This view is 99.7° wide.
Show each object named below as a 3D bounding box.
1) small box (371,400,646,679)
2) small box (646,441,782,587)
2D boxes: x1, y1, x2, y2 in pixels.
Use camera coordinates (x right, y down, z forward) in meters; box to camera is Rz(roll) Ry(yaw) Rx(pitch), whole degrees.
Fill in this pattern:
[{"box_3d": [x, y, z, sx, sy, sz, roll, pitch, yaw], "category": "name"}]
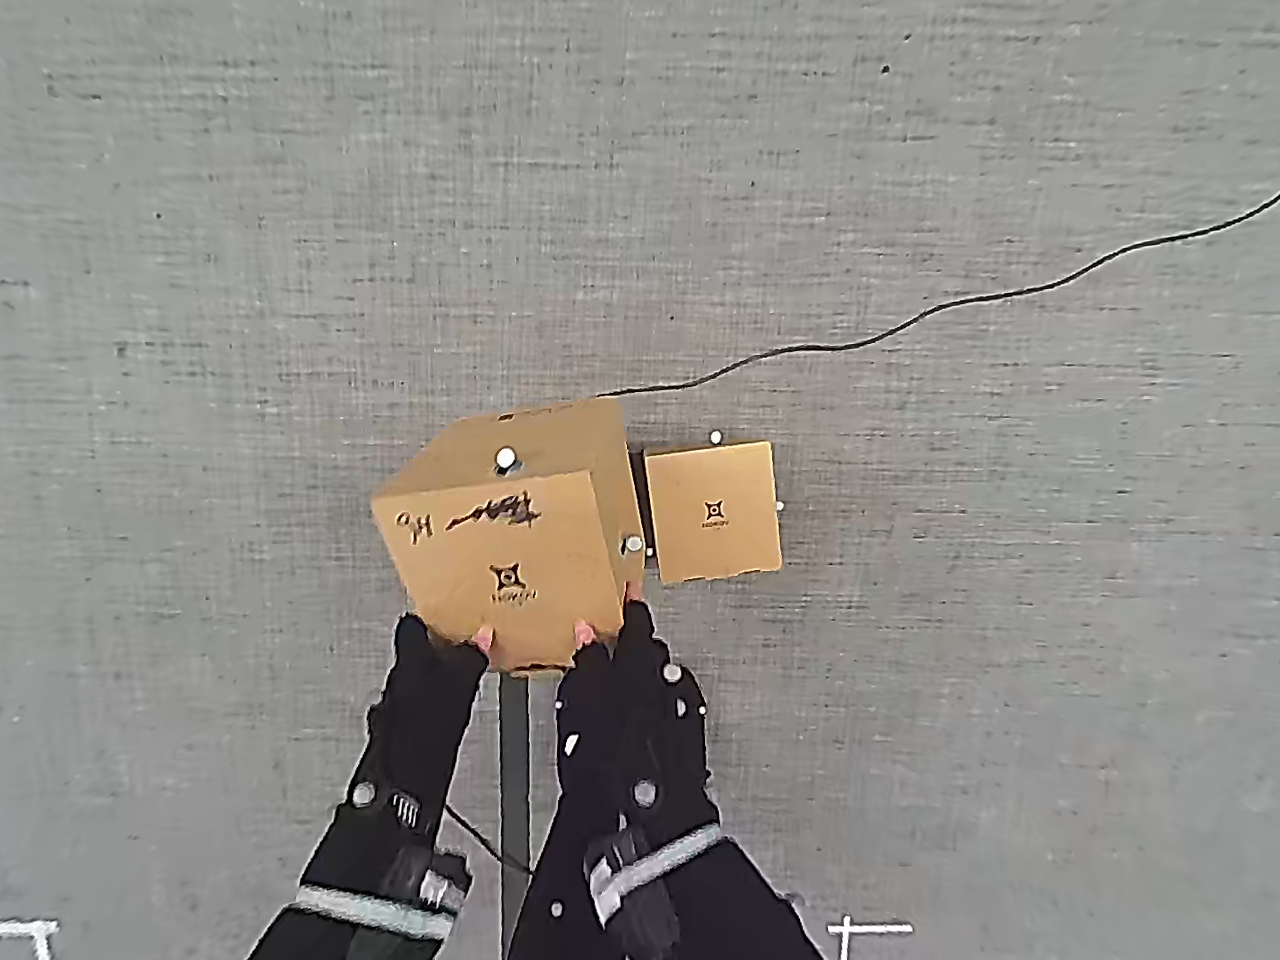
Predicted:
[{"box_3d": [-0.090, 0.047, 0.476, 0.168, 0.176, 0.179, -7, 117, 8], "category": "small box"}, {"box_3d": [0.099, 0.039, 0.791, 0.168, 0.176, 0.179, -7, 98, 1], "category": "small box"}]
